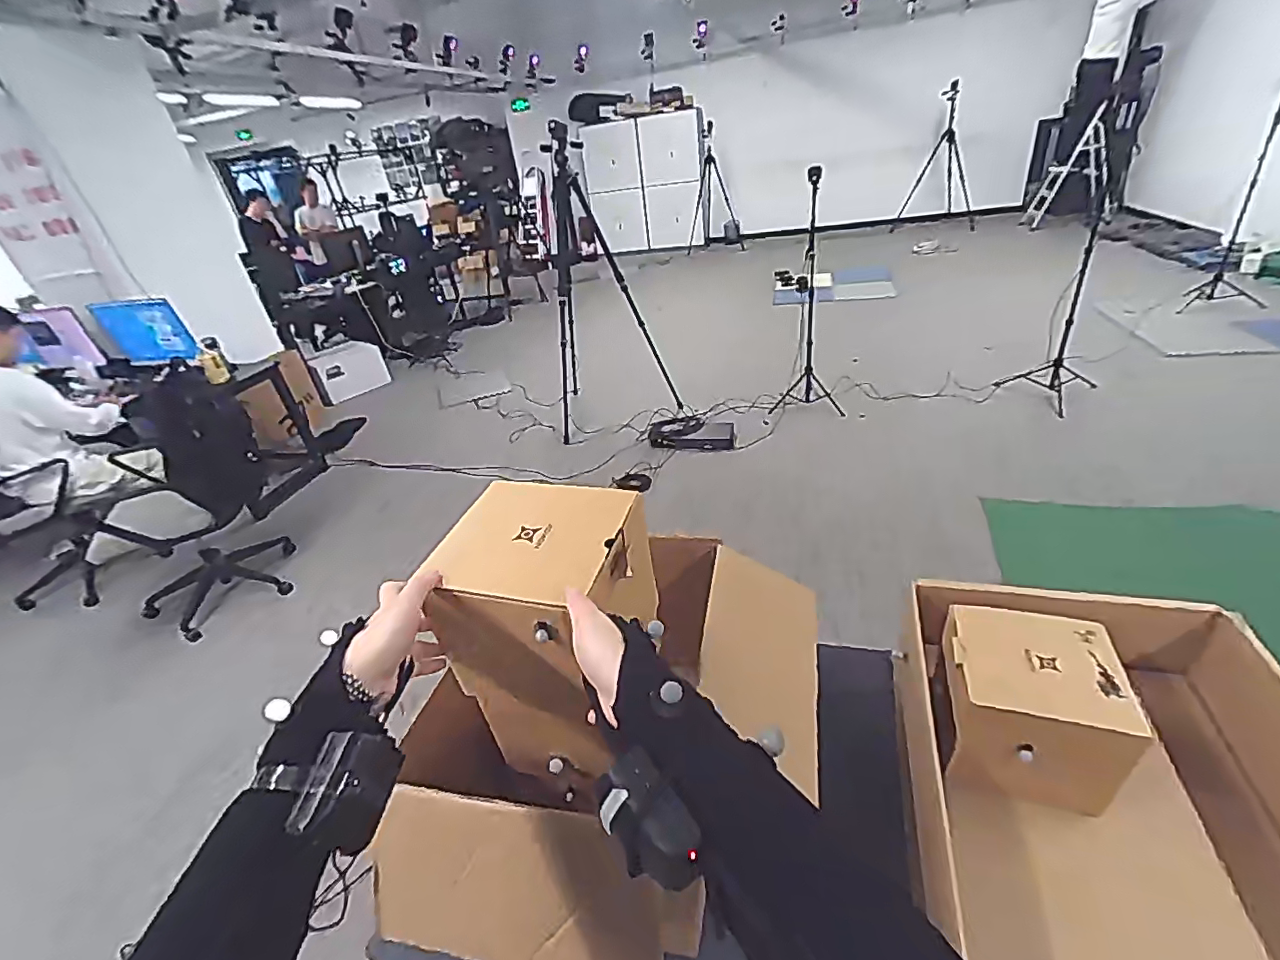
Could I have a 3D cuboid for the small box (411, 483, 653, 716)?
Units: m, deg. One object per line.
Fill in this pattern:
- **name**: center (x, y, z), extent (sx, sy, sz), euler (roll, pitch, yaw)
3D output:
- **small box**: center (-0.095, 0.121, 0.569), extent (0.179, 0.176, 0.168), euler (4, 37, 17)
